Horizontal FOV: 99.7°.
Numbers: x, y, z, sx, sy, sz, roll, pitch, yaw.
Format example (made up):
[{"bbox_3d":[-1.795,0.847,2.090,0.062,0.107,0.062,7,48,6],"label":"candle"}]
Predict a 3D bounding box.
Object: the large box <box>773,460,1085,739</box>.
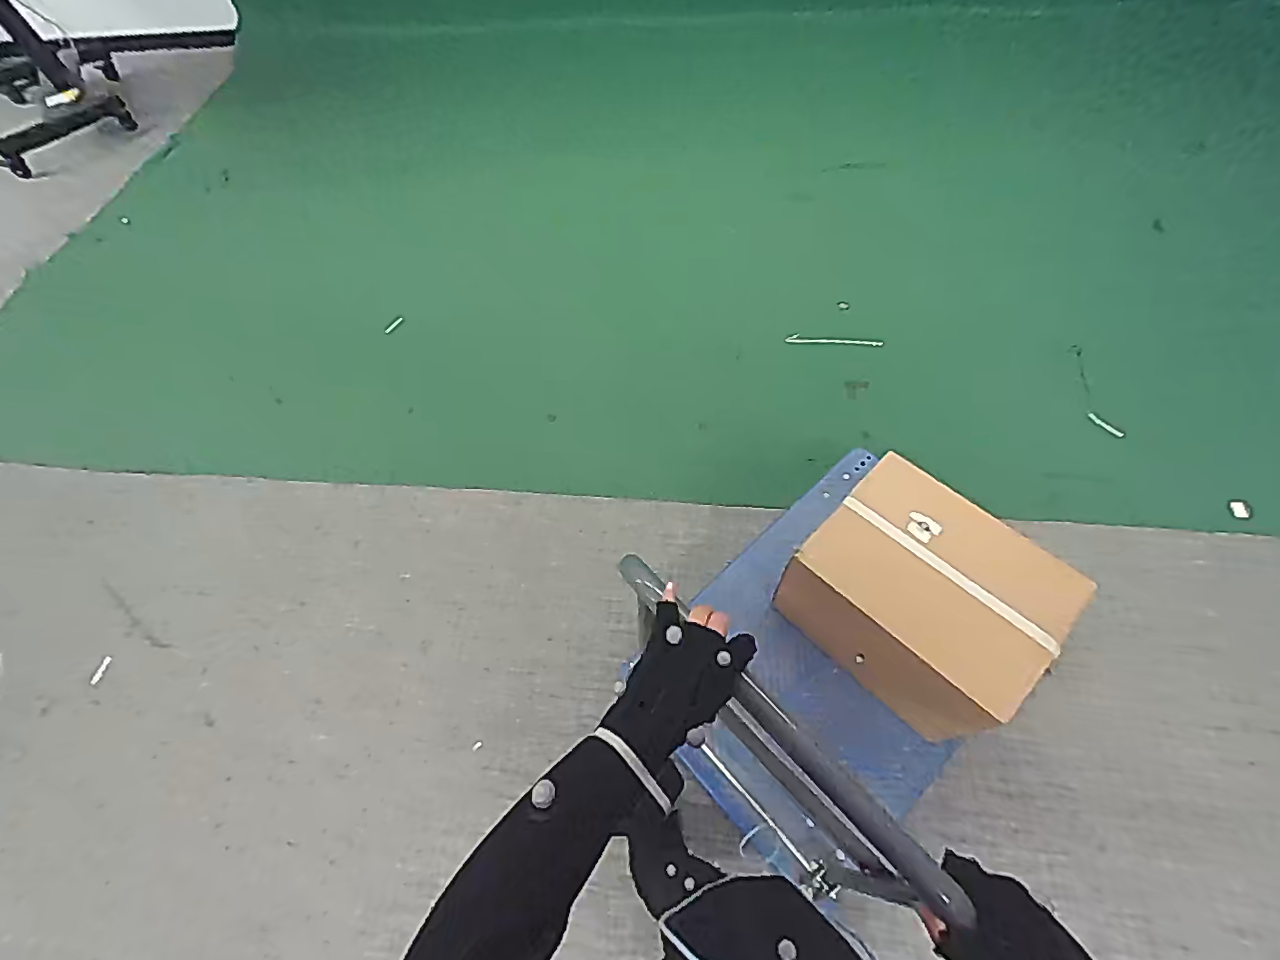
[{"bbox_3d":[0.535,0.242,1.089,0.320,0.320,0.408,-41,64,-19],"label":"large box"}]
